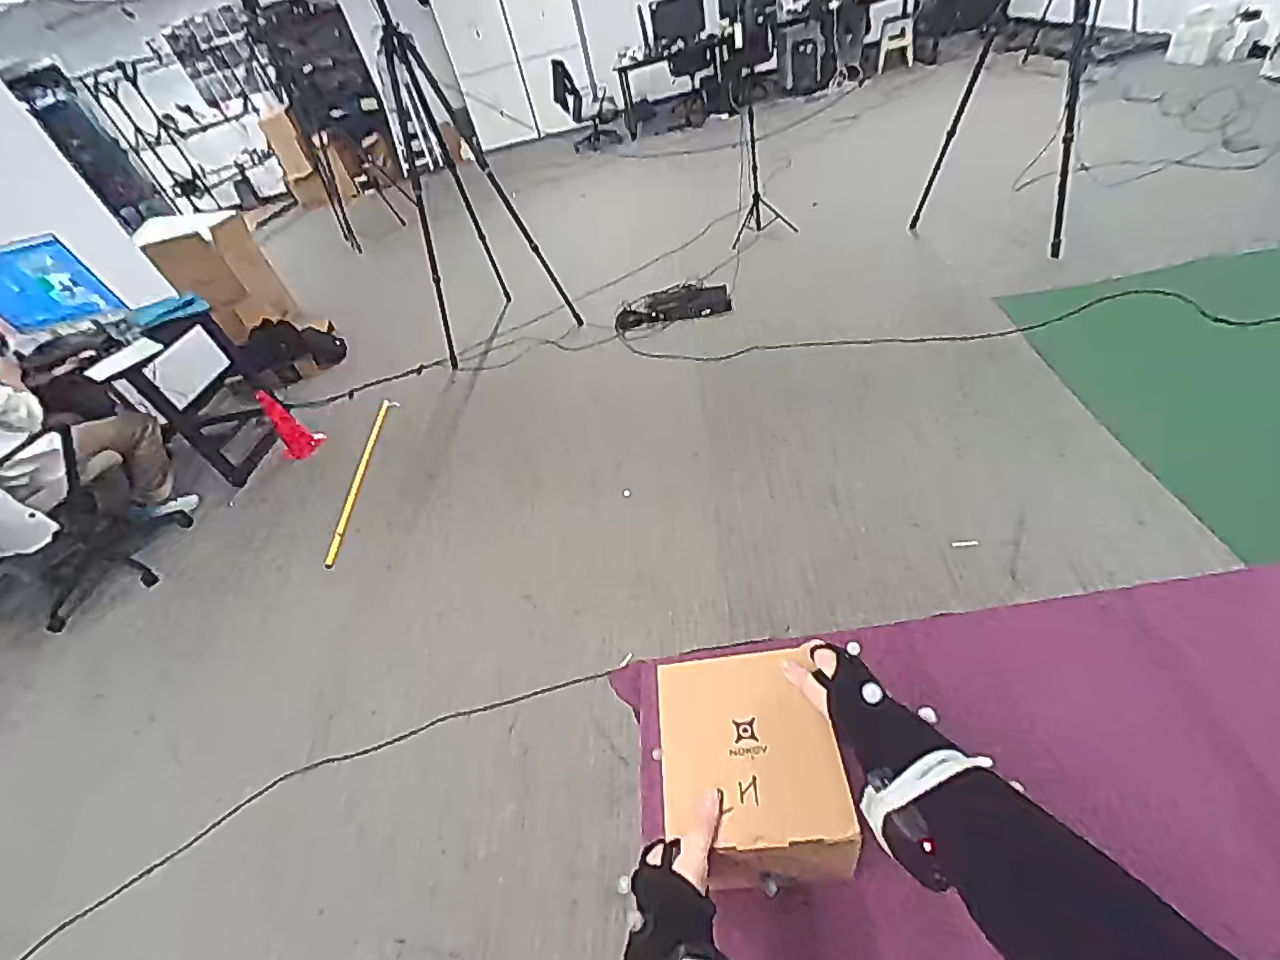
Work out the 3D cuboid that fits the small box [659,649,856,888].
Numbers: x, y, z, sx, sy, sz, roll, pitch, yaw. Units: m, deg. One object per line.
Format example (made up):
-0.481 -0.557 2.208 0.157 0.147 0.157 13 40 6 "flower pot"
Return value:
0.115 0.305 0.570 0.168 0.176 0.179 -10 44 8 "small box"
